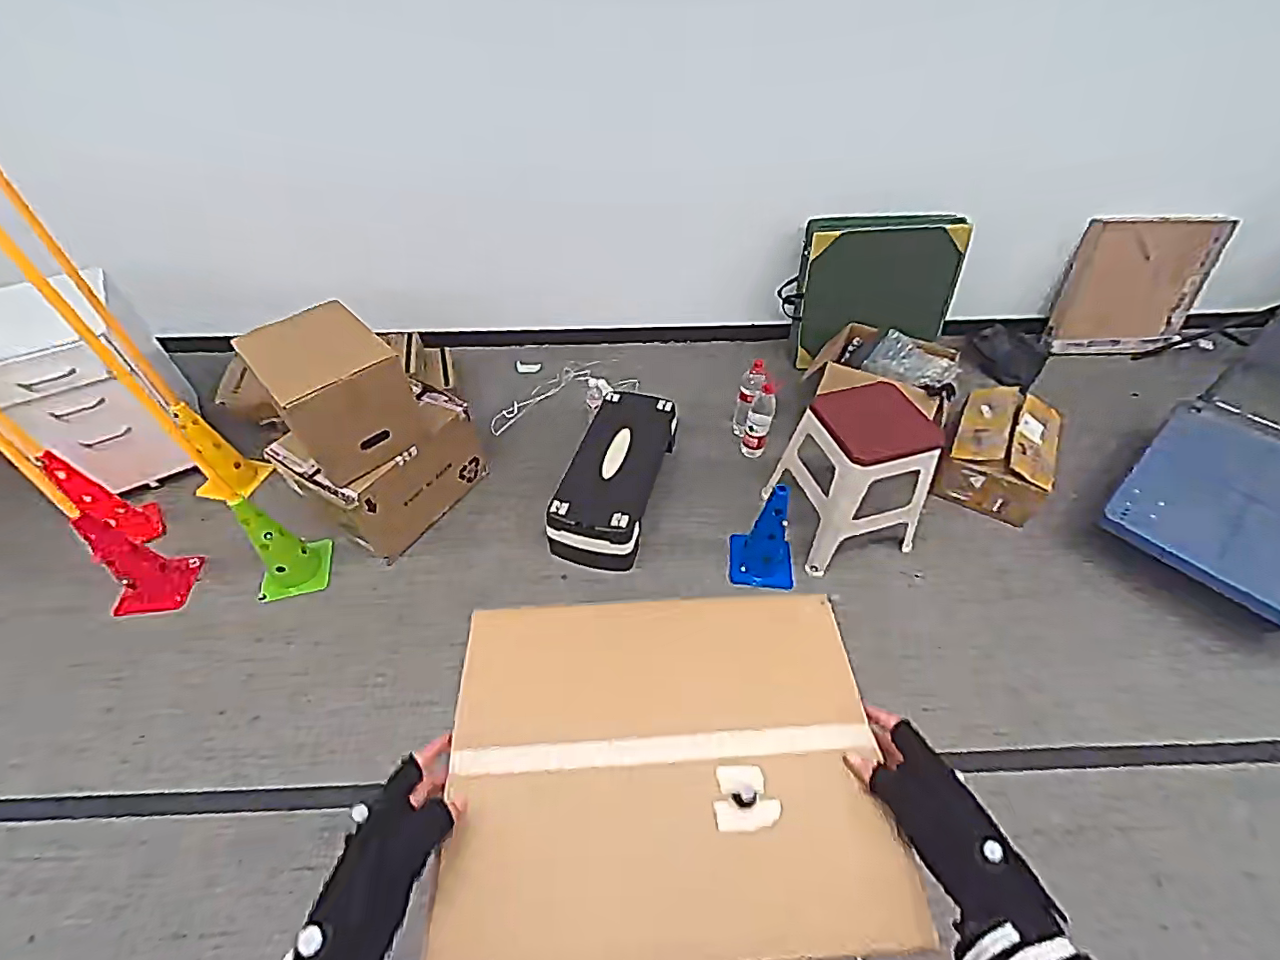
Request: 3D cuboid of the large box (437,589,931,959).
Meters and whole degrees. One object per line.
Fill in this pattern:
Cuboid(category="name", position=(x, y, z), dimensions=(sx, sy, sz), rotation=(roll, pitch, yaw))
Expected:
Cuboid(category="large box", position=(0.024, 0.349, 0.630), dimensions=(0.408, 0.320, 0.320), rotation=(-2, 50, -4))
